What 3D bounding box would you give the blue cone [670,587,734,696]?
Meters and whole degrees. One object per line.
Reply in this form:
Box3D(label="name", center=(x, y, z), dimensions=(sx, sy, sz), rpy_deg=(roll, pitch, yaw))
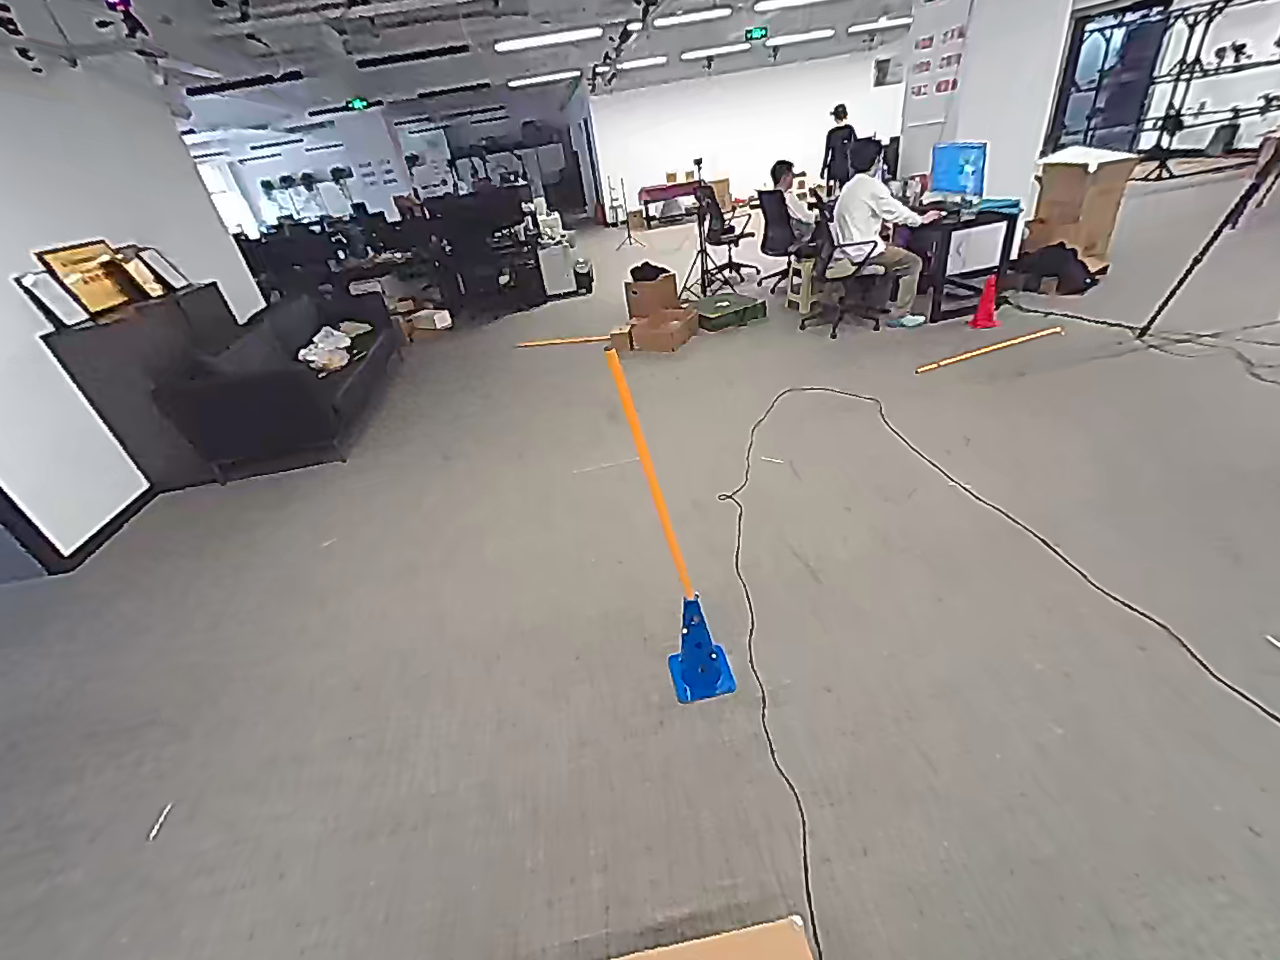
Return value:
Box3D(label="blue cone", center=(0.180, 0.502, 1.747), dimensions=(0.193, 0.380, 0.192), rpy_deg=(-15, 32, -5))
